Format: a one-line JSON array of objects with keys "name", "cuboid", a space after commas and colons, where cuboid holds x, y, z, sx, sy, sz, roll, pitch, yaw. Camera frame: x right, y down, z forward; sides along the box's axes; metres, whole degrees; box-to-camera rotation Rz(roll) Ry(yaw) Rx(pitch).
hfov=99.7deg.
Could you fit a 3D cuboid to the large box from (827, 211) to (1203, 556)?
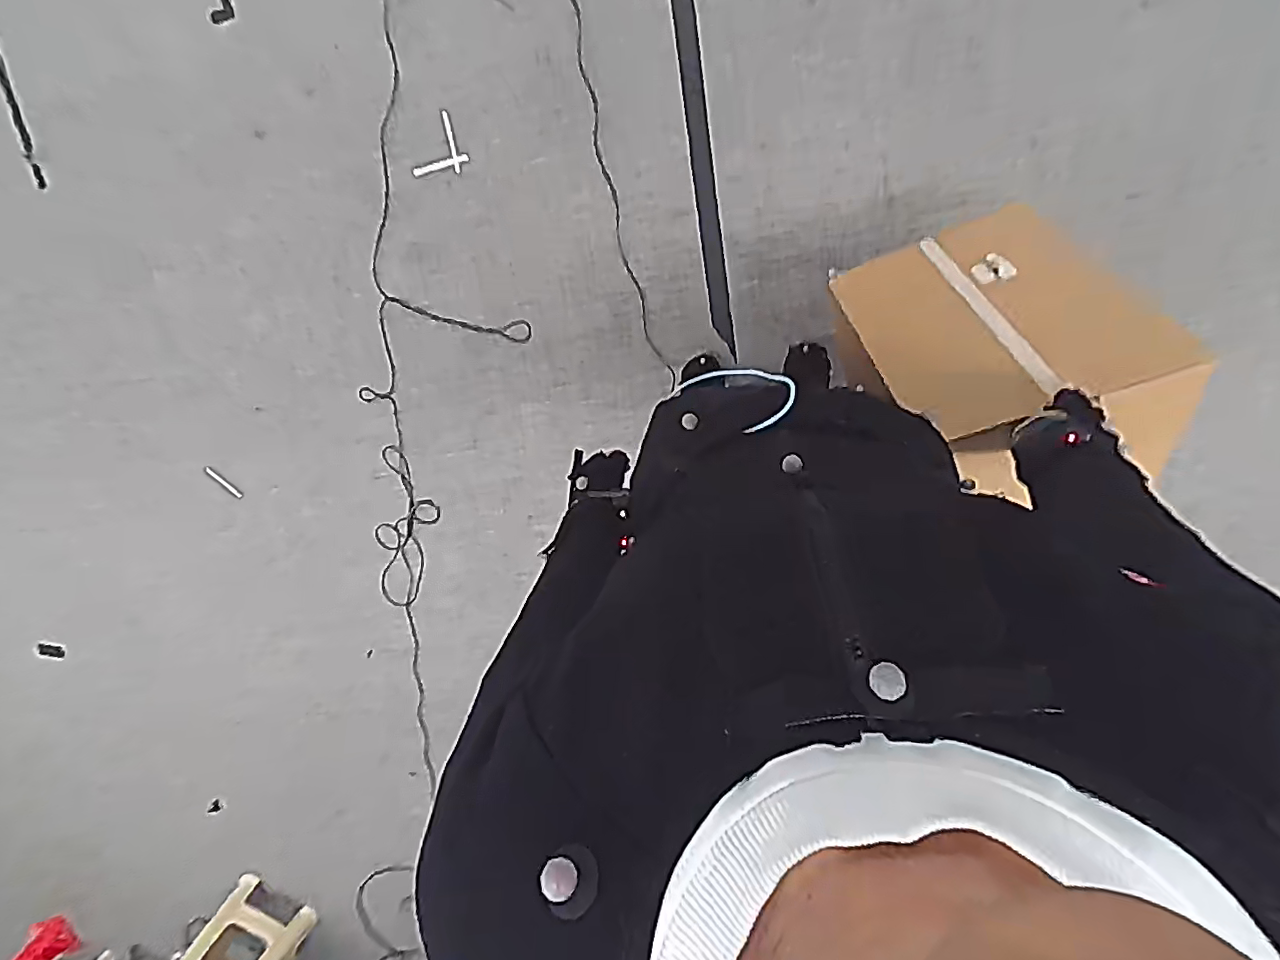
[{"name": "large box", "cuboid": [0.542, -0.151, 0.881, 0.320, 0.408, 0.320, -19, 138, 13]}]
